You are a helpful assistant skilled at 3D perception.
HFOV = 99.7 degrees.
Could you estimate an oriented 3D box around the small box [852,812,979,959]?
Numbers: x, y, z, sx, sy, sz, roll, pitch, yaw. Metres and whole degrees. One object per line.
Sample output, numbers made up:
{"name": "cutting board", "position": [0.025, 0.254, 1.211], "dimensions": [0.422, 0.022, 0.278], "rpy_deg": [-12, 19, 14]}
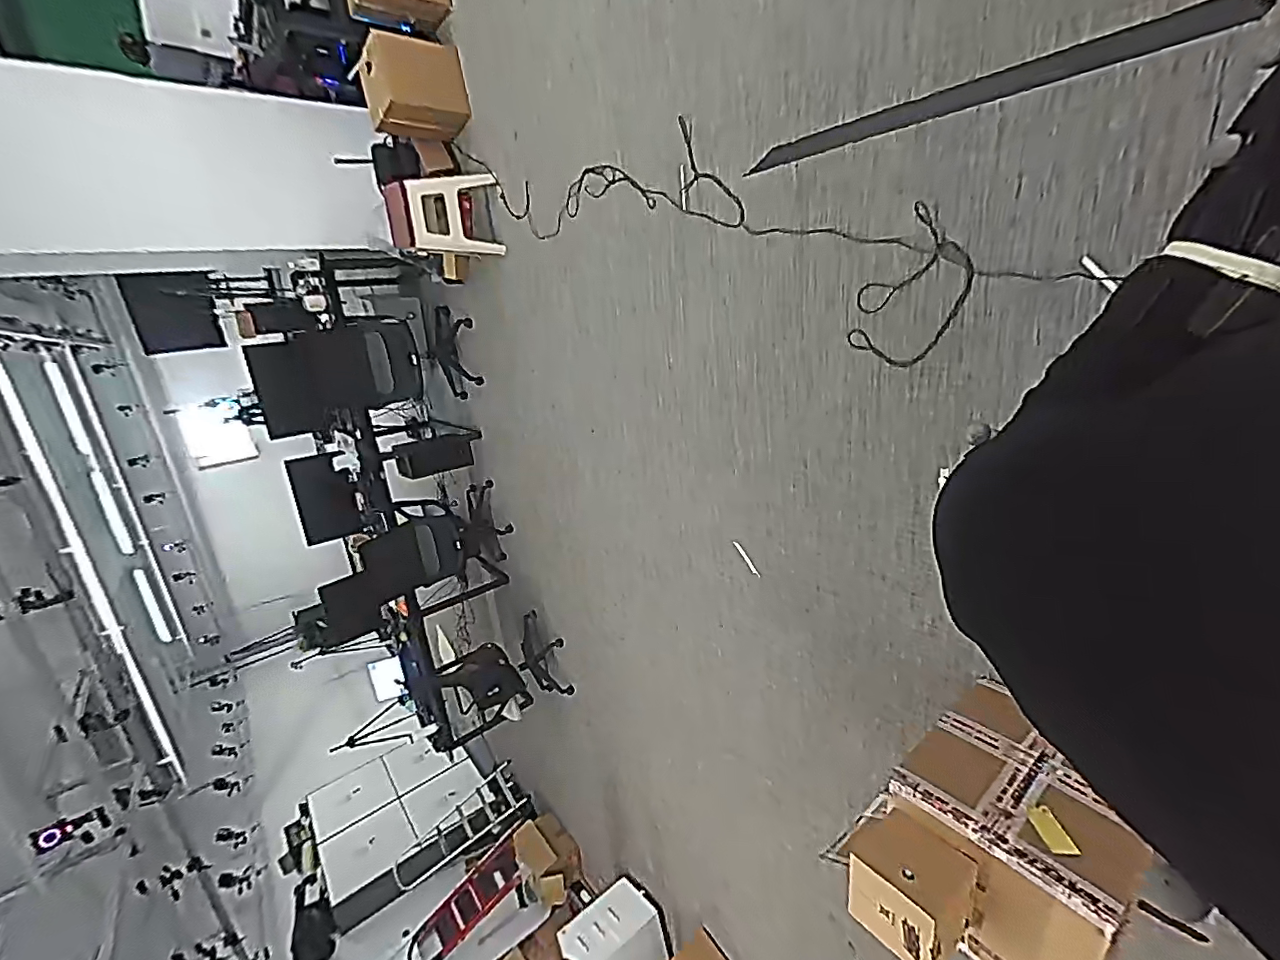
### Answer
{"name": "small box", "position": [0.557, 0.826, 1.095], "dimensions": [0.179, 0.176, 0.168], "rpy_deg": [17, 116, 53]}
